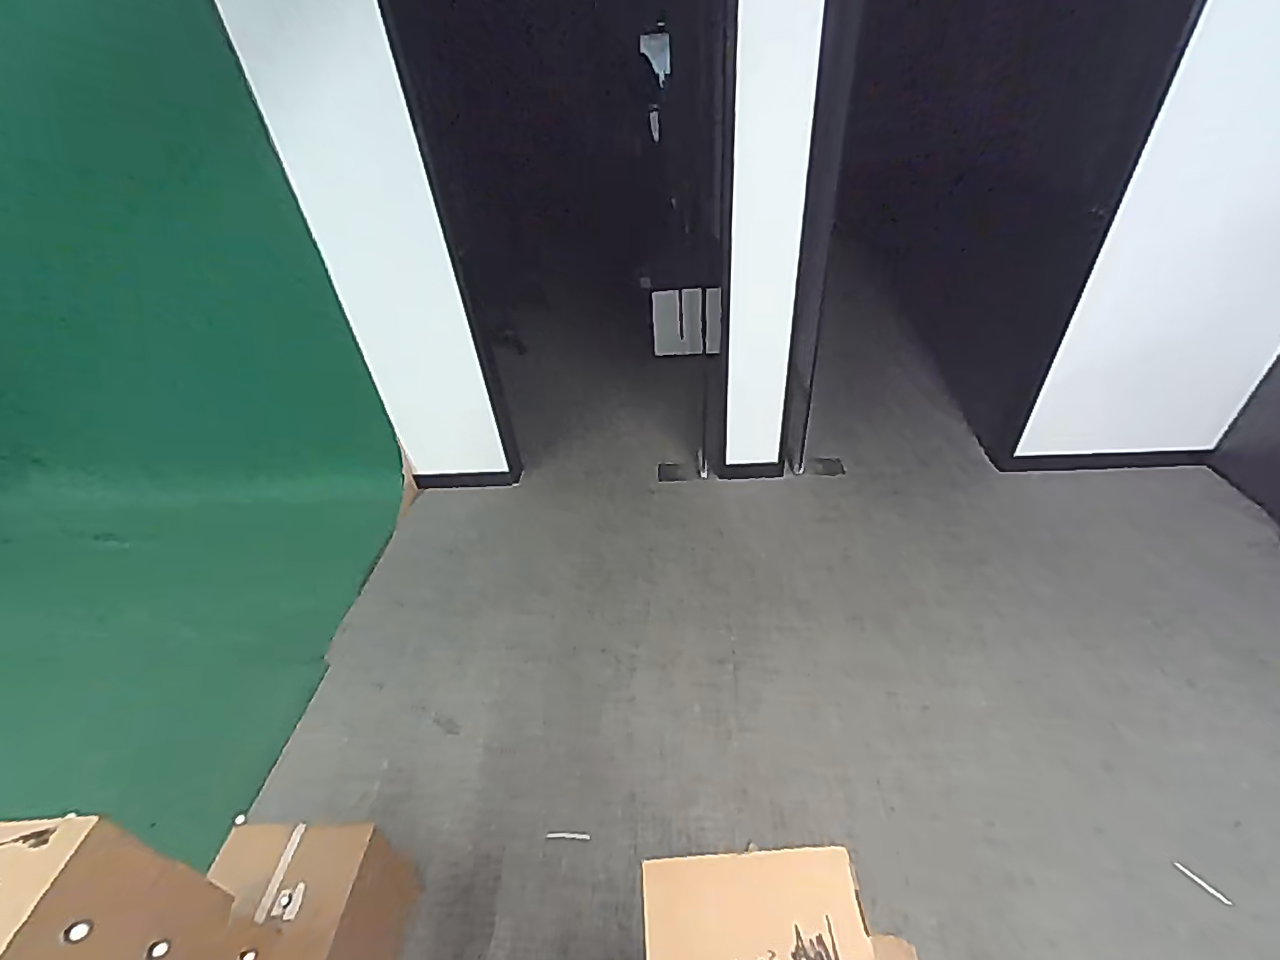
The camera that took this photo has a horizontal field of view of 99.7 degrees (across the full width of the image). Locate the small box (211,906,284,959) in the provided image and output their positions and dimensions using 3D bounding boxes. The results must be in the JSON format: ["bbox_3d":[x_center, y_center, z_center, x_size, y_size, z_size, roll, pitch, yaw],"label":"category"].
[{"bbox_3d":[-0.726,0.811,0.870,0.179,0.176,0.168,-4,37,4],"label":"small box"}]

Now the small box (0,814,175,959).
[{"bbox_3d":[-0.749,0.548,0.675,0.168,0.176,0.179,-4,38,1],"label":"small box"}]

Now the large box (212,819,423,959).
[{"bbox_3d":[-0.688,0.960,1.073,0.320,0.320,0.408,-2,37,4],"label":"large box"}]

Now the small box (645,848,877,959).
[{"bbox_3d":[0.098,0.428,0.458,0.179,0.176,0.168,-6,46,2],"label":"small box"}]
